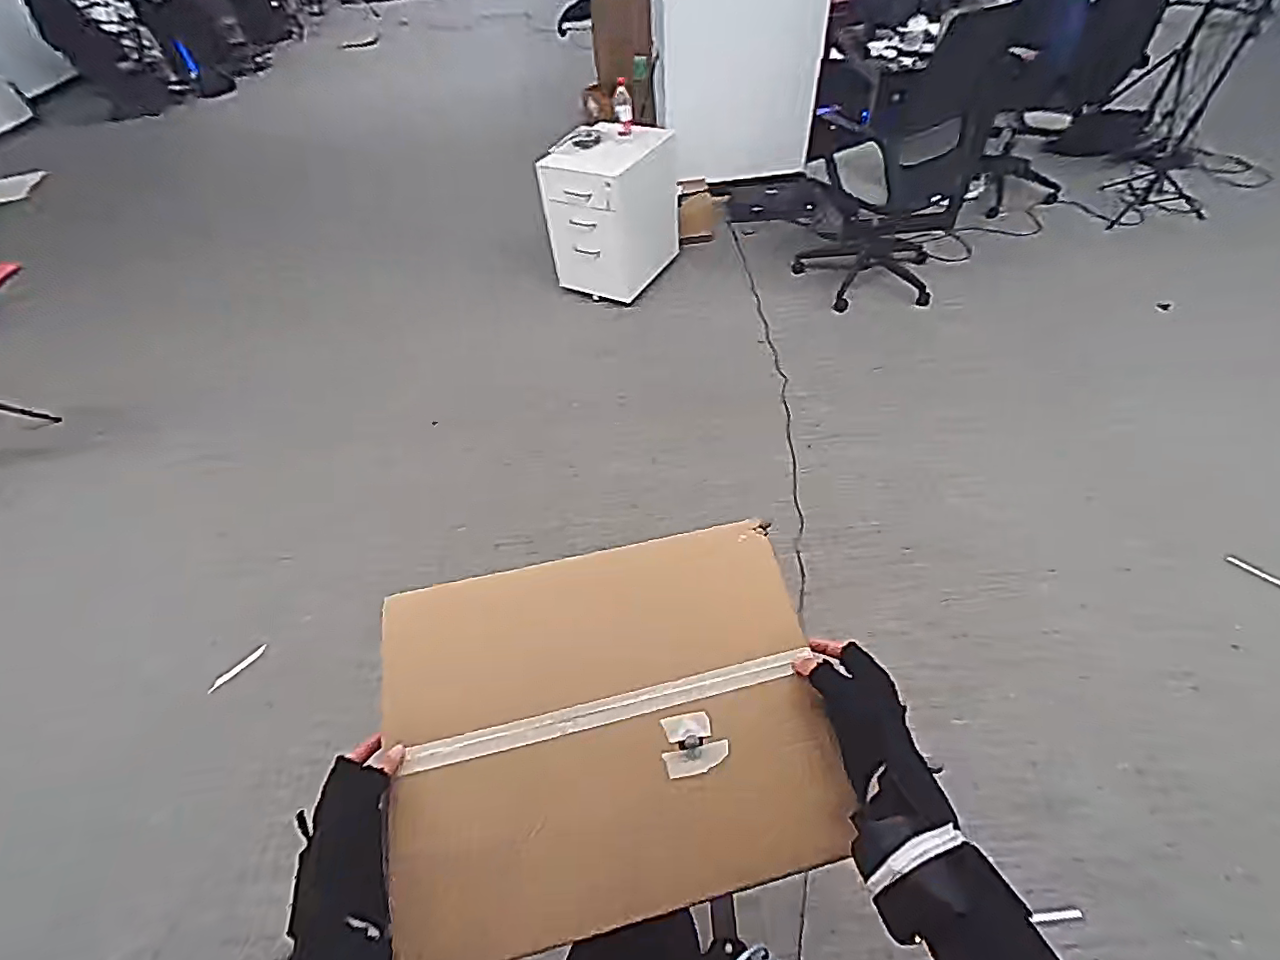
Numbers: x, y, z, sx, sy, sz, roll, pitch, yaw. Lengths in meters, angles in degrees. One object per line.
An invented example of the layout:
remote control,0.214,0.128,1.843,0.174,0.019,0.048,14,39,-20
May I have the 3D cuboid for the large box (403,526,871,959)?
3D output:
large box,-0.025,0.294,0.647,0.408,0.320,0.320,-11,61,-7
